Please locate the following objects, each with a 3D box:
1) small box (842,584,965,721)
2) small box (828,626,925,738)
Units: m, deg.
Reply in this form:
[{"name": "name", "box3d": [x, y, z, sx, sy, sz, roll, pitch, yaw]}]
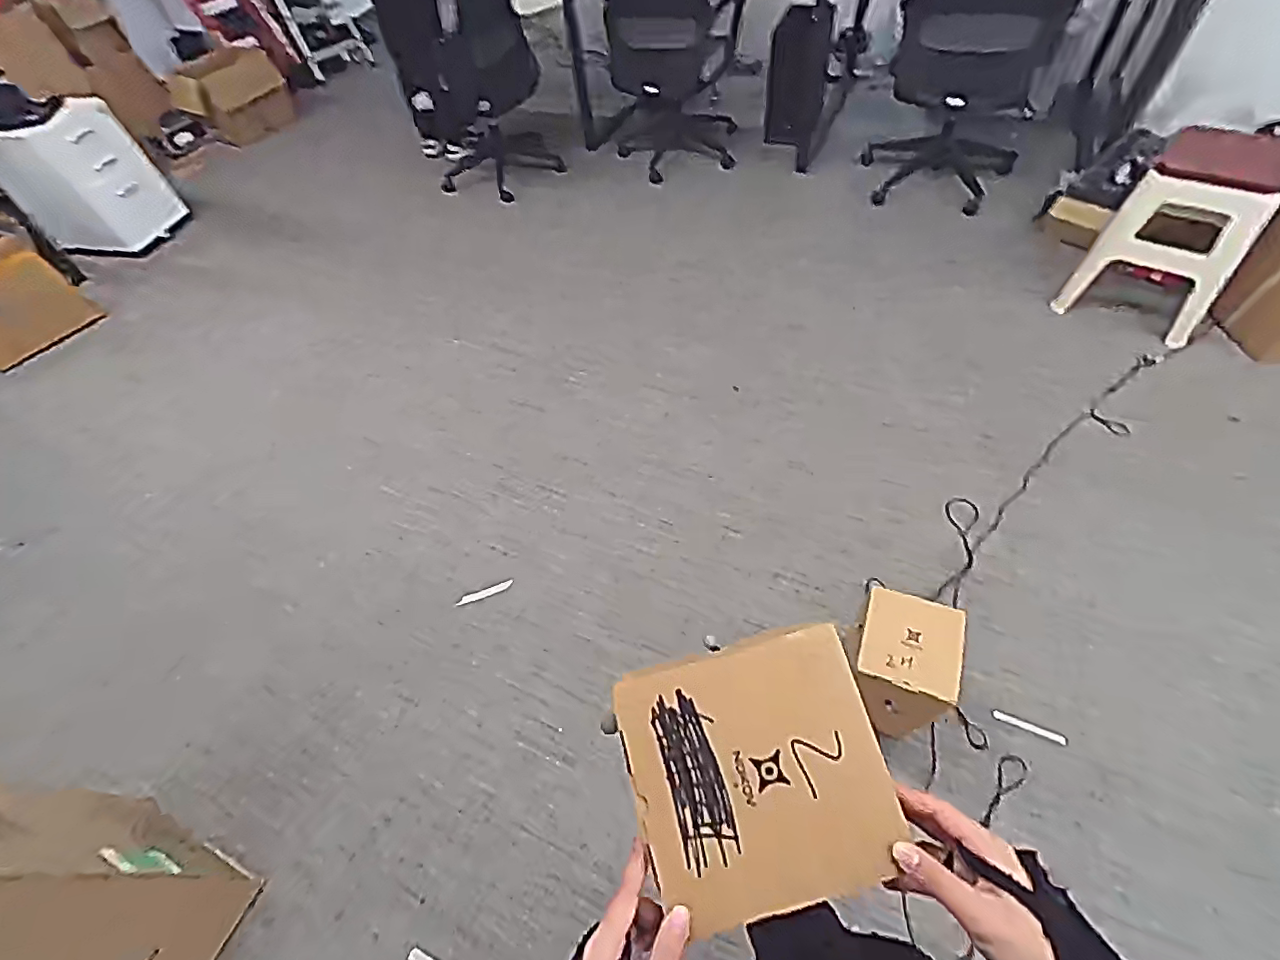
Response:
[{"name": "small box", "box3d": [0.498, 0.333, 1.036, 0.168, 0.176, 0.179, 15, 58, 19]}, {"name": "small box", "box3d": [0.516, 0.428, 1.169, 0.168, 0.176, 0.179, 17, 59, 19]}]
